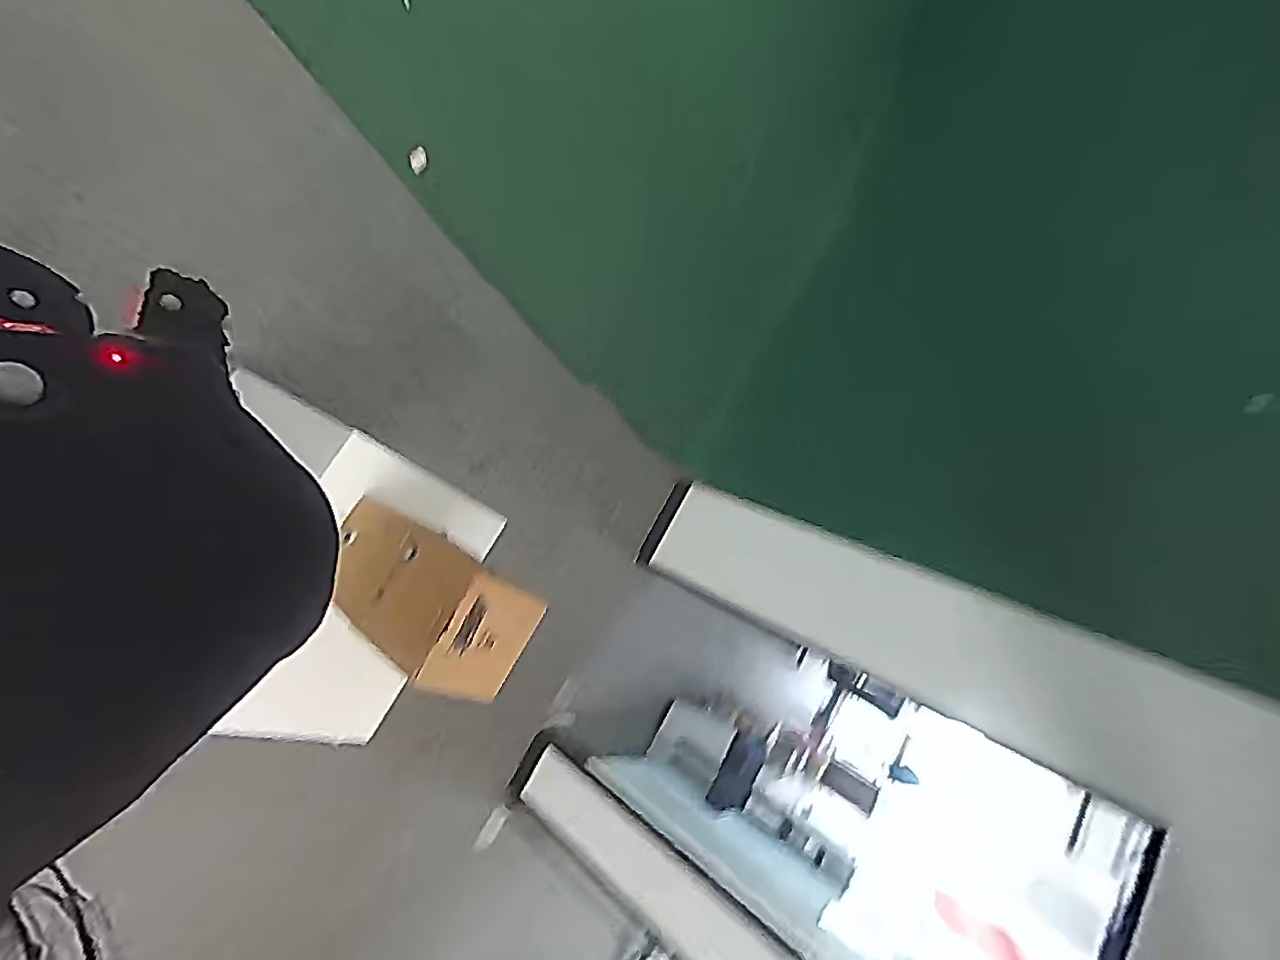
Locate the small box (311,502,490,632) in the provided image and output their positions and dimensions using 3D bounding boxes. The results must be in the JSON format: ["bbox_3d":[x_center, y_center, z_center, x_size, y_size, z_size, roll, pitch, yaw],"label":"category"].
[{"bbox_3d":[-0.395,0.156,0.898,0.168,0.176,0.179,-61,143,-11],"label":"small box"}]

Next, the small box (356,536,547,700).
[{"bbox_3d":[-0.282,0.202,0.814,0.168,0.176,0.179,-59,145,-13],"label":"small box"}]
